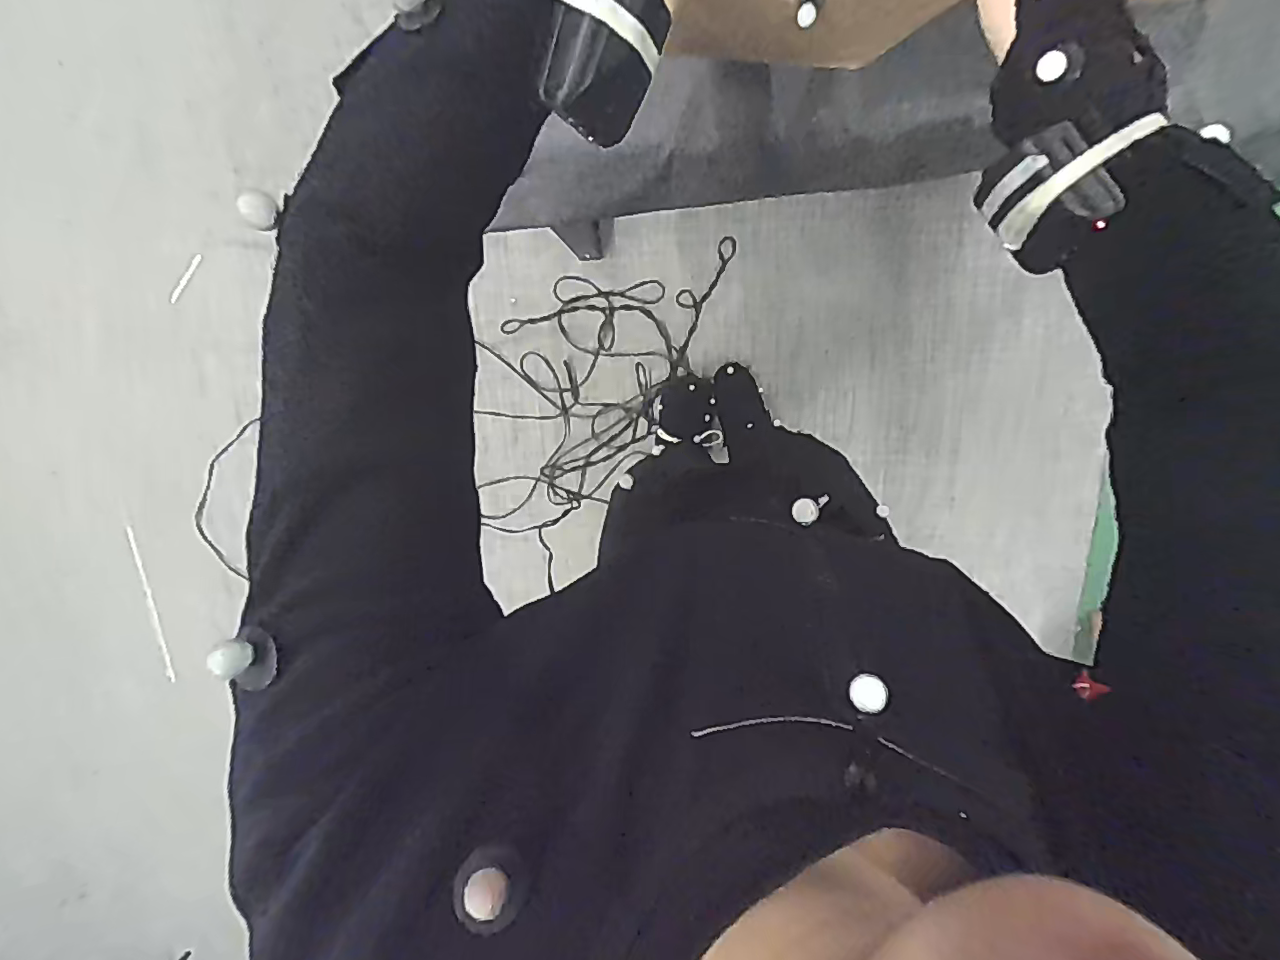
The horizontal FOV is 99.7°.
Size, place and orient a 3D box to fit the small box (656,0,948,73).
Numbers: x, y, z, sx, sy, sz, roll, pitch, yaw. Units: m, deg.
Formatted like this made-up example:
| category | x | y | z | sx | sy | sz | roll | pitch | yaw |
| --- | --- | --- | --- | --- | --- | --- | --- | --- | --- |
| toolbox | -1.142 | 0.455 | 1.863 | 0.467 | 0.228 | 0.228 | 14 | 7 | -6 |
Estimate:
| category | x | y | z | sx | sy | sz | roll | pitch | yaw |
| --- | --- | --- | --- | --- | --- | --- | --- | --- | --- |
| small box | 0.107 | -0.387 | 0.346 | 0.179 | 0.176 | 0.168 | 0 | 113 | -7 |

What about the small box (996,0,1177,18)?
| category | x | y | z | sx | sy | sz | roll | pitch | yaw |
| --- | --- | --- | --- | --- | --- | --- | --- | --- | --- |
| small box | 0.408 | -0.496 | 0.410 | 0.179 | 0.176 | 0.168 | -2 | 102 | 3 |
